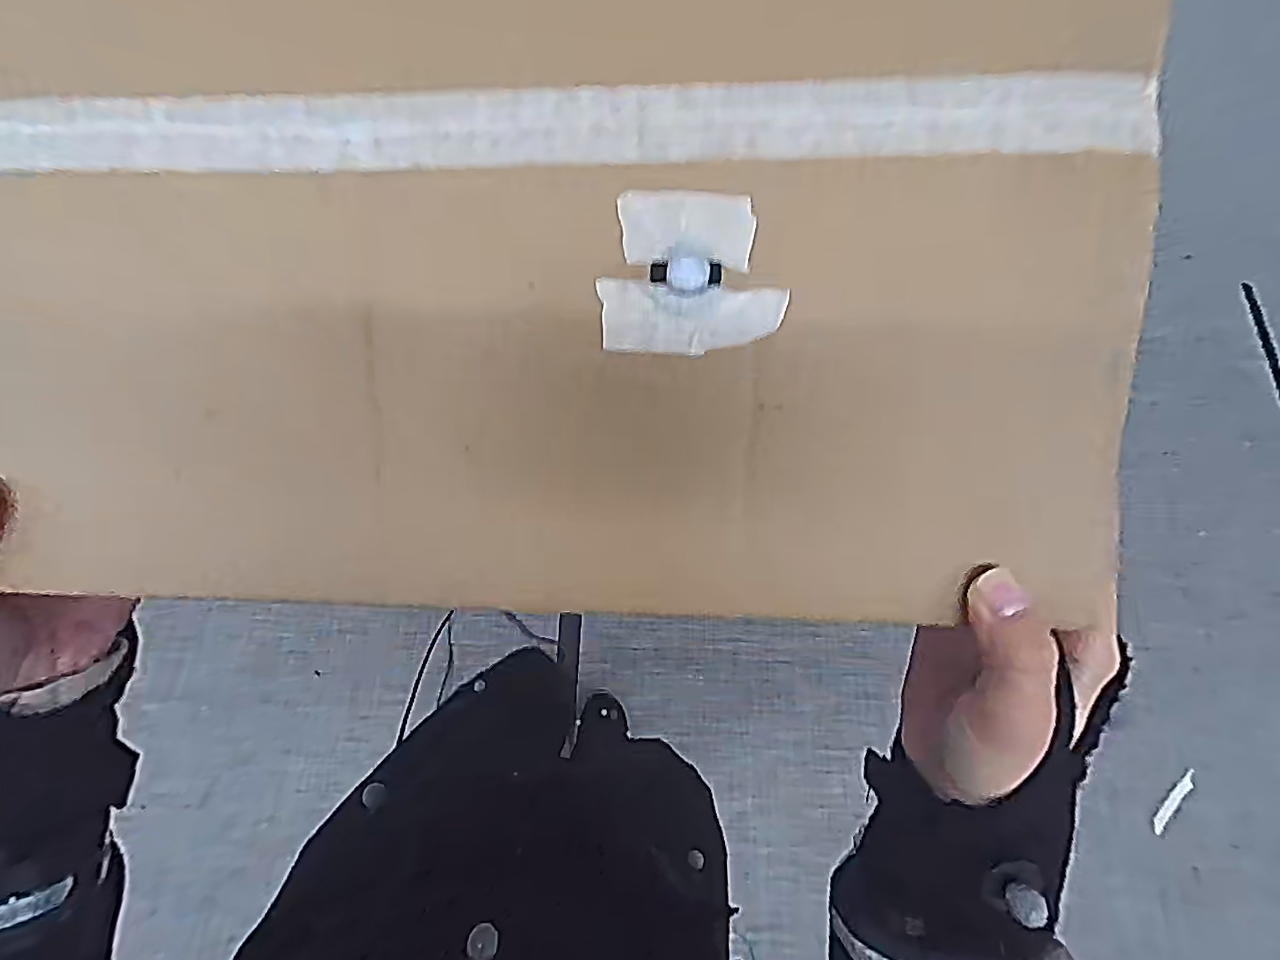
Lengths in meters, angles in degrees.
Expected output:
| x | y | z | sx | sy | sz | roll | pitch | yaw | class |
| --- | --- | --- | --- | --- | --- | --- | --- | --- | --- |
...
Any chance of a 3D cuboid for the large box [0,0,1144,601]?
| x | y | z | sx | sy | sz | roll | pitch | yaw | class |
| --- | --- | --- | --- | --- | --- | --- | --- | --- | --- |
| -0.039 | -0.126 | 0.329 | 0.408 | 0.320 | 0.320 | 1 | 98 | 2 | large box |
